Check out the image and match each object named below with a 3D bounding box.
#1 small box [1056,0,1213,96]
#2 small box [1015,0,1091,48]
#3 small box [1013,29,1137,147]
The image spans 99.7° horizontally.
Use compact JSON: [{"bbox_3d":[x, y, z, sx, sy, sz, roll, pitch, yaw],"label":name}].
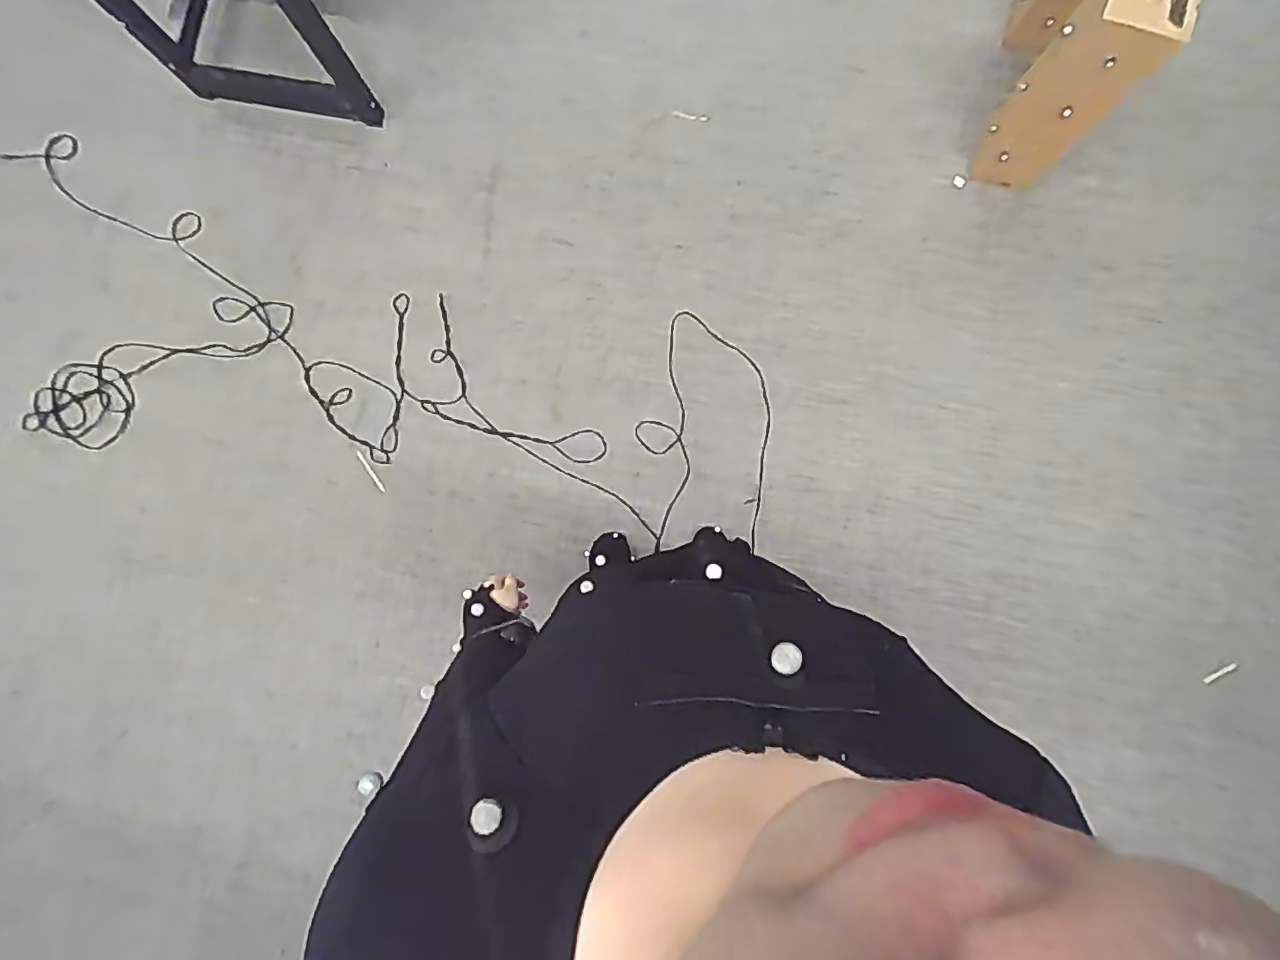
[{"bbox_3d":[1.040,-0.958,1.137,0.179,0.176,0.168,21,87,5],"label":"small box"},{"bbox_3d":[1.179,-1.338,1.485,0.179,0.176,0.168,15,87,4],"label":"small box"},{"bbox_3d":[1.055,-0.945,1.301,0.179,0.176,0.168,19,87,4],"label":"small box"}]
